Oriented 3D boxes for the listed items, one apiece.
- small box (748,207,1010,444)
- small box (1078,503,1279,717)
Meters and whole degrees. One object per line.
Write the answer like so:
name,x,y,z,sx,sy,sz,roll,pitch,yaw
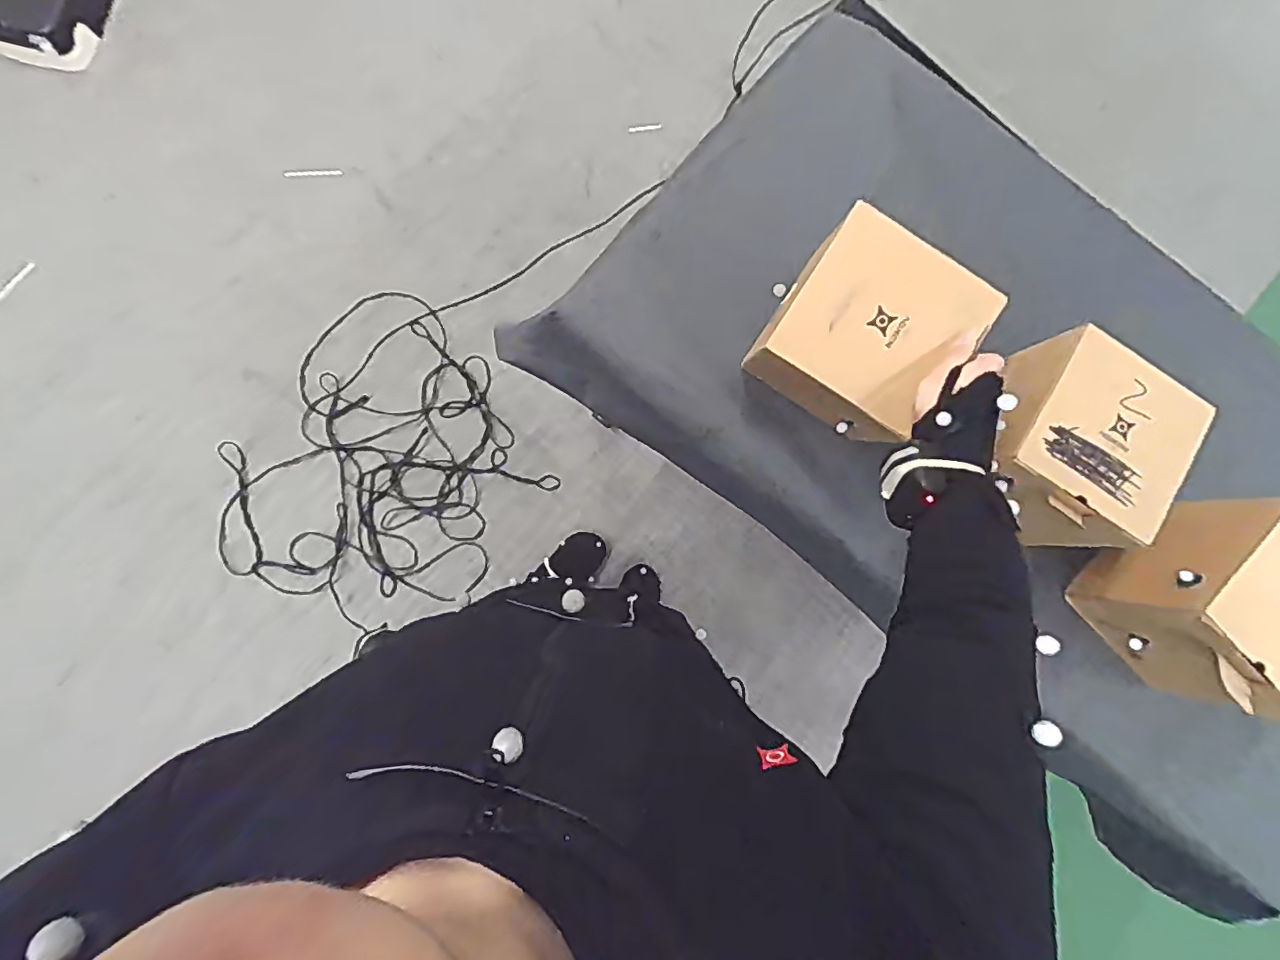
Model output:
small box,0.243,-0.155,0.601,0.179,0.176,0.168,32,94,1
small box,0.678,0.138,0.629,0.179,0.176,0.168,-44,90,-7
